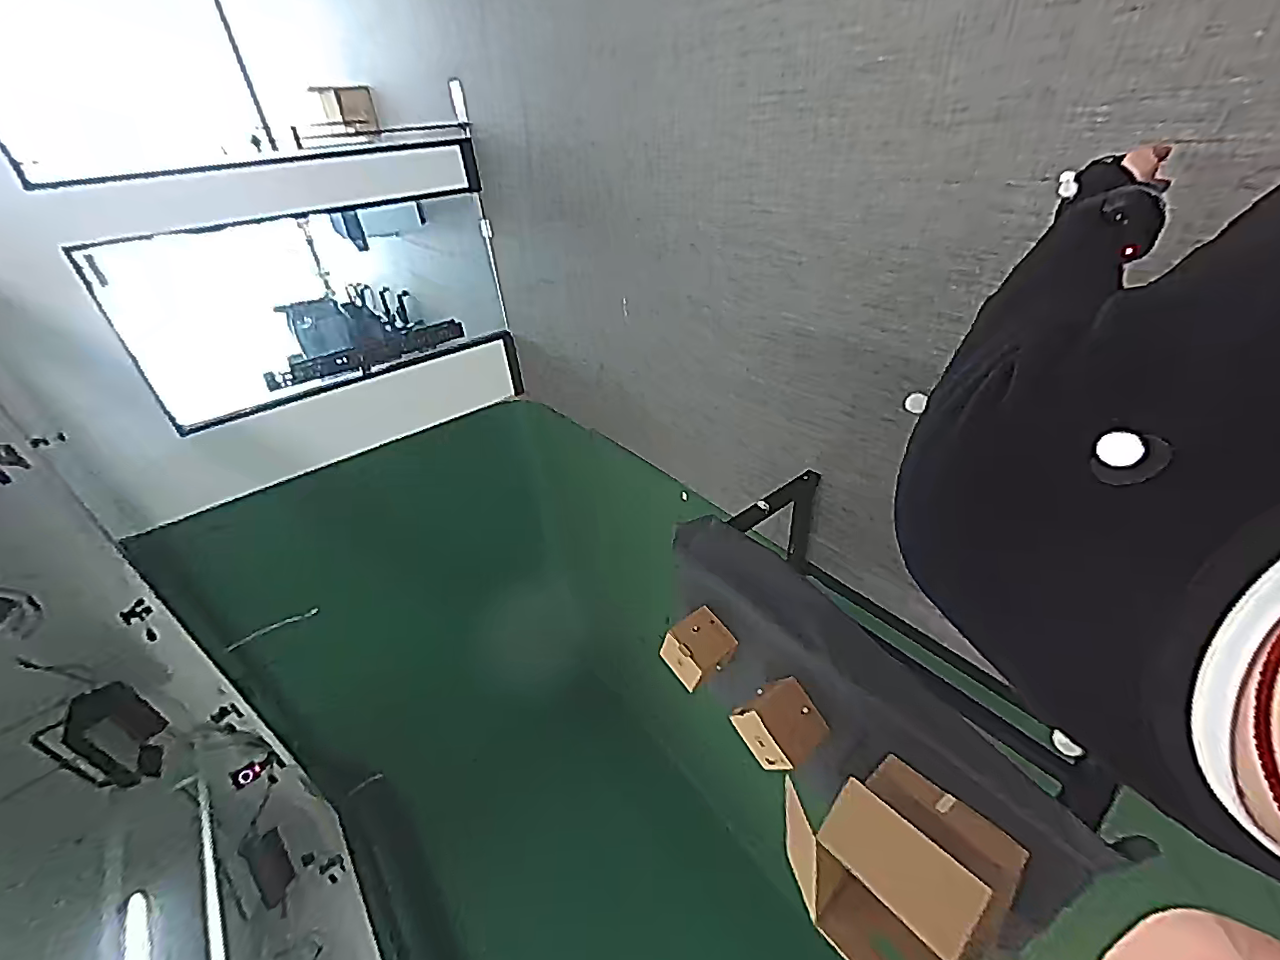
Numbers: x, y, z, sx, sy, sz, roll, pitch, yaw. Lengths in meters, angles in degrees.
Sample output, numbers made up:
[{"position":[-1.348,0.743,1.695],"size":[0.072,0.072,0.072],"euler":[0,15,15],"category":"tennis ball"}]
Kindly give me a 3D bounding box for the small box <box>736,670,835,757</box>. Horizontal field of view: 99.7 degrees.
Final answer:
[{"position":[0.418,0.666,1.557],"size":[0.179,0.176,0.168],"euler":[57,151,14],"category":"small box"}]

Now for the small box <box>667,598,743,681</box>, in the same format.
[{"position":[0.214,0.517,1.772],"size":[0.168,0.176,0.179],"euler":[48,149,28],"category":"small box"}]
